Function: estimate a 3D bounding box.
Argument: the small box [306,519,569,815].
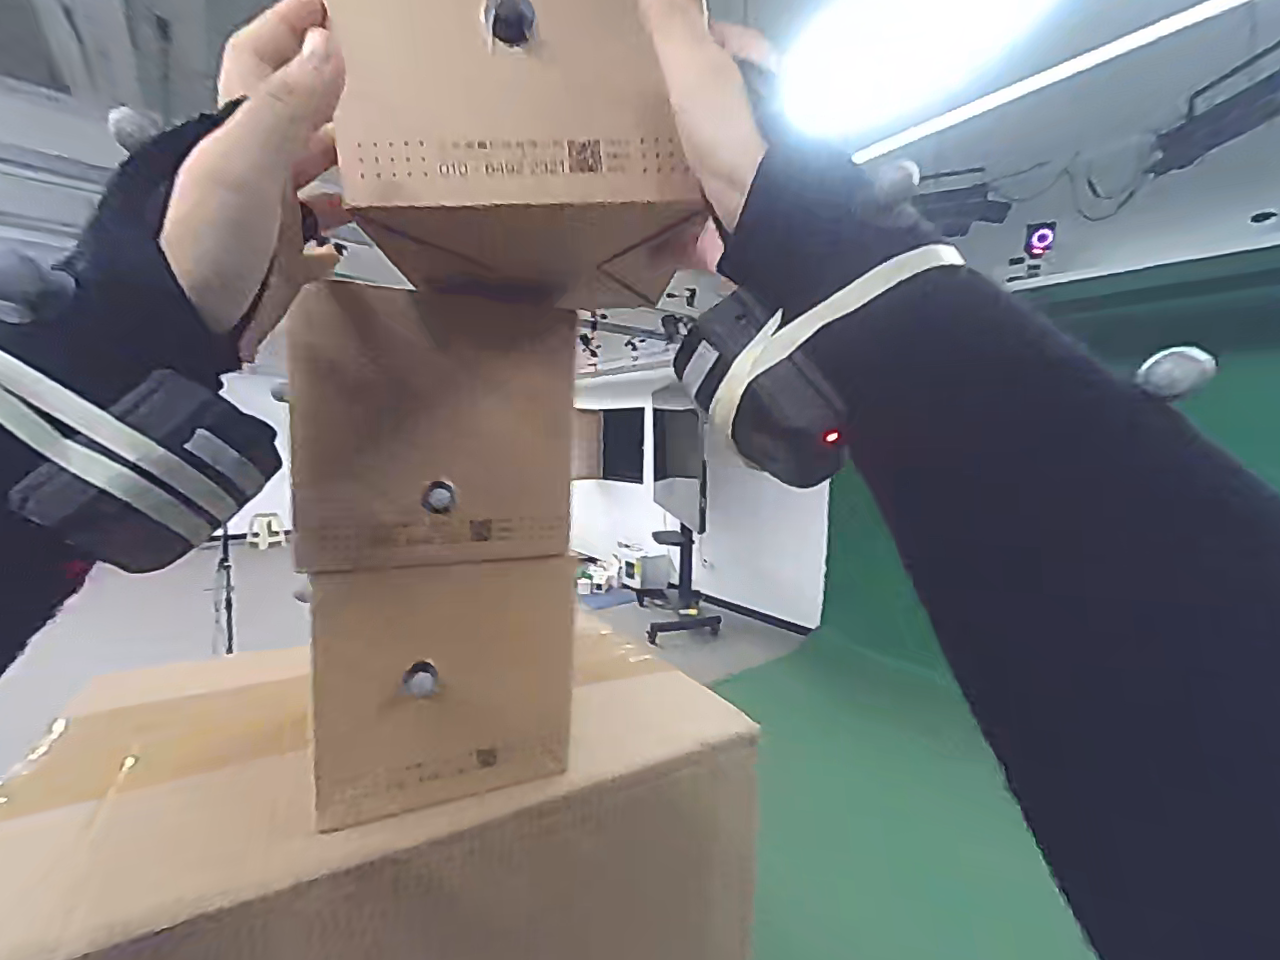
[{"bbox_3d":[-0.160,0.132,0.433,0.168,0.176,0.179,0,6,-26],"label":"small box"}]

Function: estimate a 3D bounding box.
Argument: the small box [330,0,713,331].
[{"bbox_3d":[-0.059,-0.196,0.318,0.168,0.176,0.179,-5,2,-6],"label":"small box"}]
